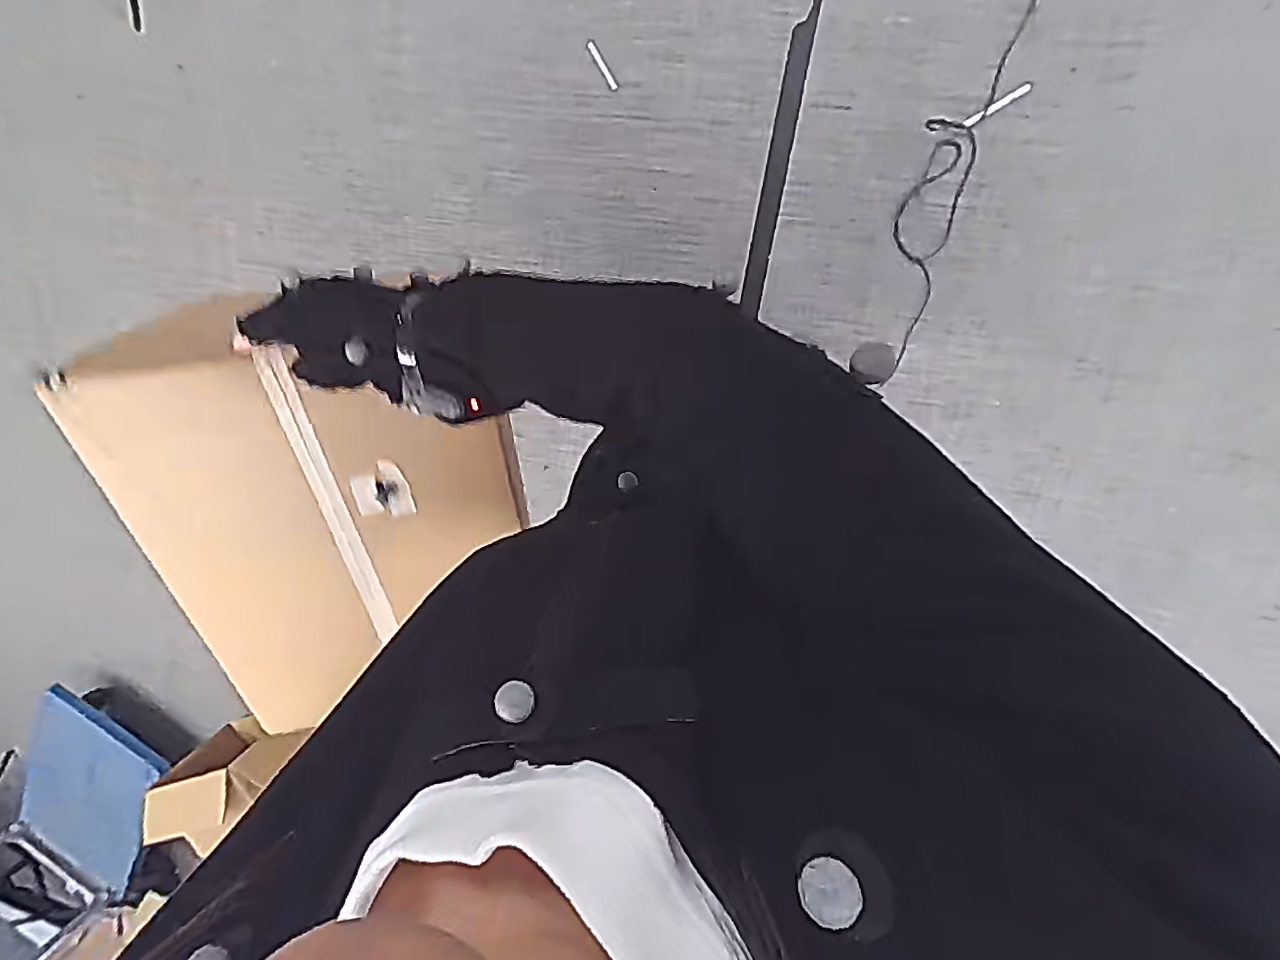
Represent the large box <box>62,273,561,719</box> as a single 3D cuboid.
[{"bbox_3d":[-0.303,-0.003,0.654,0.320,0.320,0.408,-14,120,-11],"label":"large box"}]
